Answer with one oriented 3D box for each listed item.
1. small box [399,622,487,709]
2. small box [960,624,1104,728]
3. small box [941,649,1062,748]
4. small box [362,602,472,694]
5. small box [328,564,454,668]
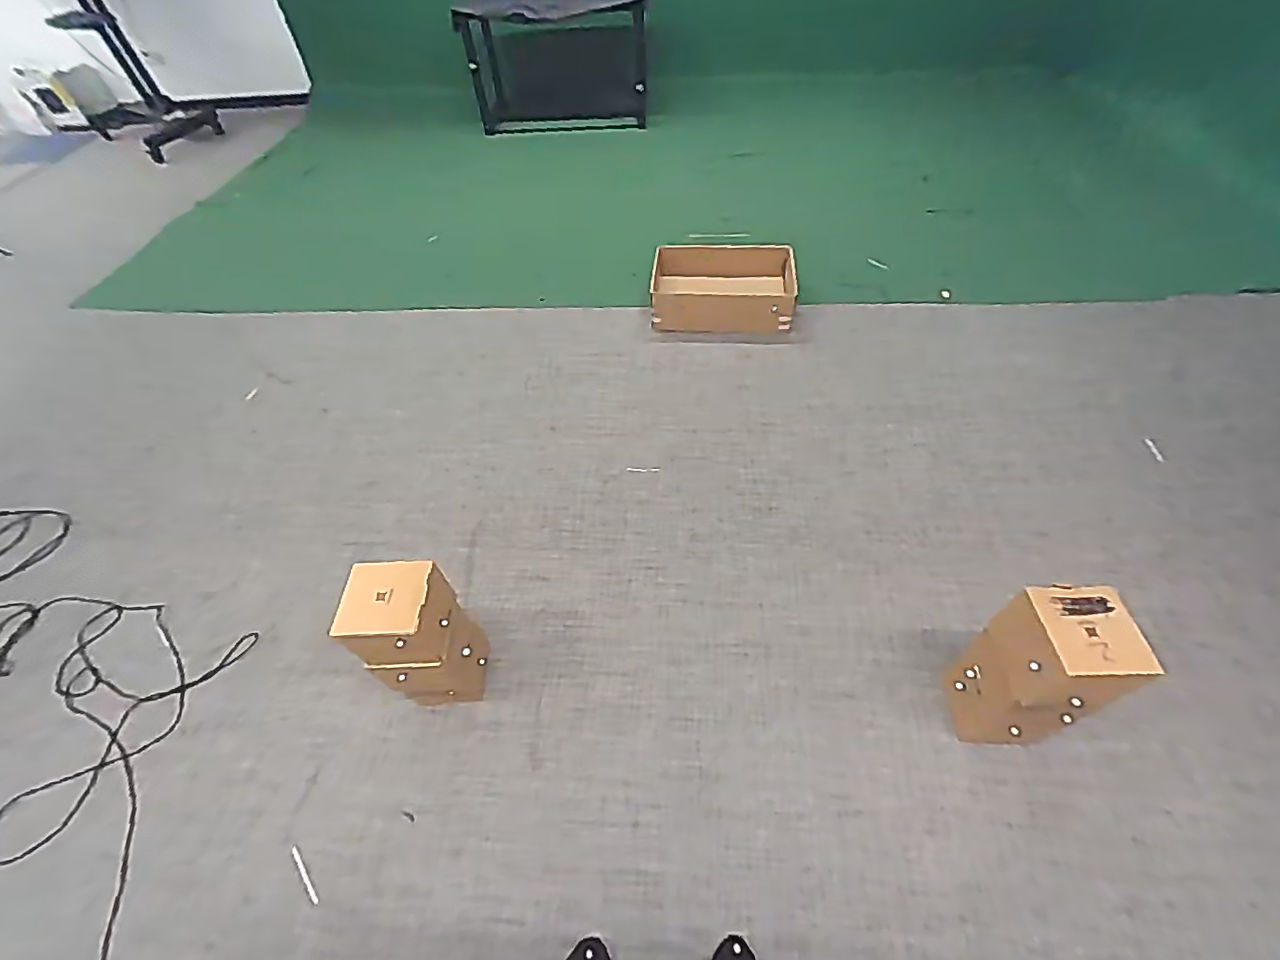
[{"bbox_3d":[-0.518,0.494,1.432,0.179,0.176,0.168,-6,50,0],"label":"small box"},{"bbox_3d":[0.840,0.431,1.180,0.179,0.176,0.168,1,50,6],"label":"small box"},{"bbox_3d":[0.859,0.529,1.309,0.168,0.176,0.179,1,51,5],"label":"small box"},{"bbox_3d":[-0.523,0.404,1.294,0.179,0.176,0.168,-2,51,1],"label":"small box"},{"bbox_3d":[-0.527,0.297,1.171,0.179,0.176,0.168,-3,51,0],"label":"small box"}]
